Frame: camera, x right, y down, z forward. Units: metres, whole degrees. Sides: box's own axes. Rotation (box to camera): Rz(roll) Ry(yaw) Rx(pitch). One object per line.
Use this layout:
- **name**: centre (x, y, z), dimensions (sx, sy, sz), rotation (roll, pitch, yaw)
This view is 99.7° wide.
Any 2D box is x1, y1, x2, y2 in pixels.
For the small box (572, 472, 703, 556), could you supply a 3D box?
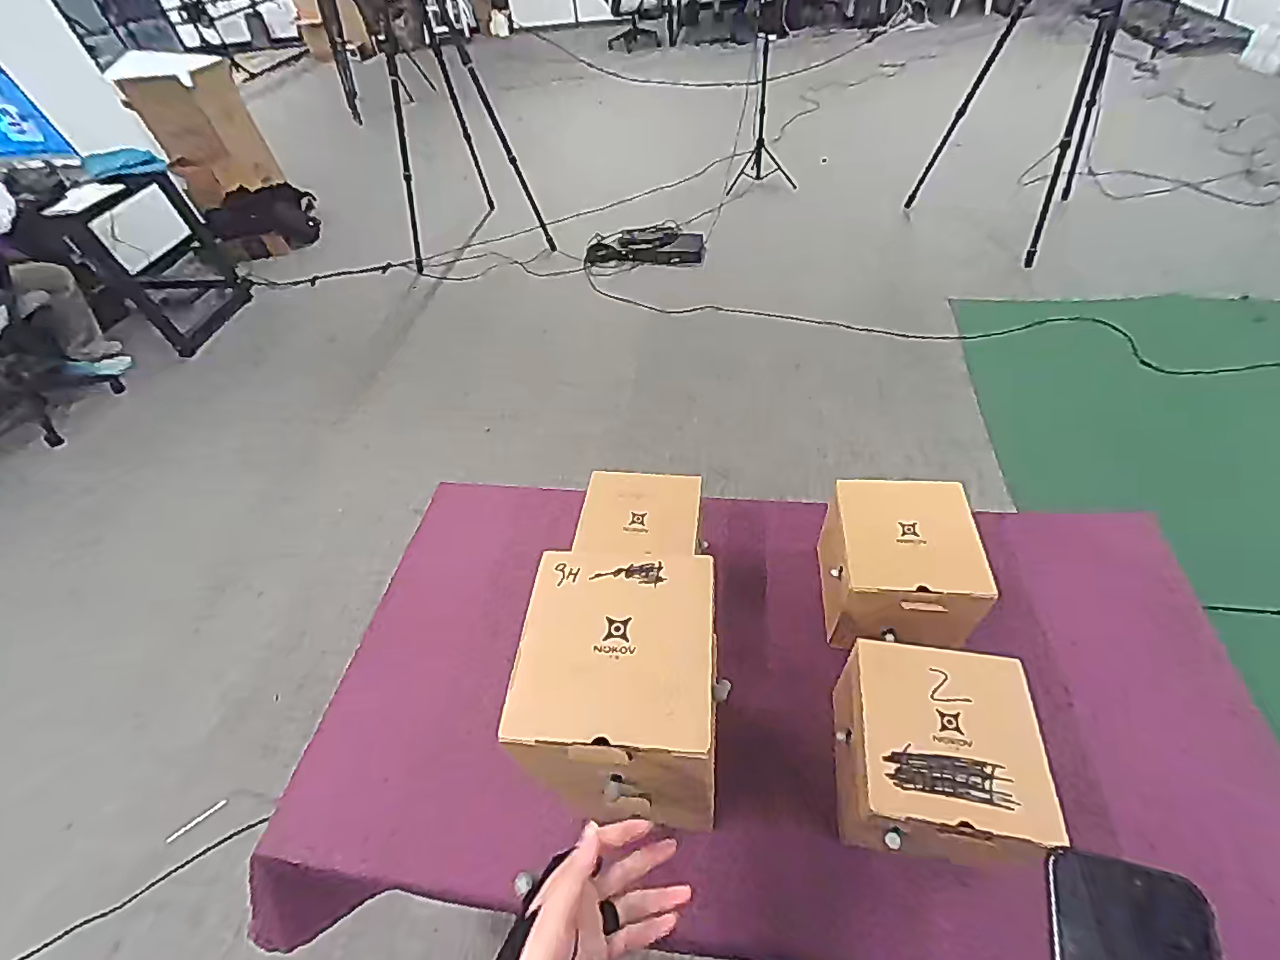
- **small box**: centre (0.006, 0.109, 0.803), dimensions (0.168, 0.176, 0.179), rotation (3, 50, 9)

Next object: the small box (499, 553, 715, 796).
- **small box**: centre (-0.013, 0.188, 0.518), dimensions (0.168, 0.176, 0.179), rotation (0, 50, 8)

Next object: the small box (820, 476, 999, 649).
- **small box**: centre (0.352, 0.114, 0.749), dimensions (0.168, 0.176, 0.179), rotation (0, 51, 9)

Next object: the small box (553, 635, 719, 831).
- **small box**: centre (0.008, 0.294, 0.643), dimensions (0.168, 0.176, 0.179), rotation (0, 49, 9)
